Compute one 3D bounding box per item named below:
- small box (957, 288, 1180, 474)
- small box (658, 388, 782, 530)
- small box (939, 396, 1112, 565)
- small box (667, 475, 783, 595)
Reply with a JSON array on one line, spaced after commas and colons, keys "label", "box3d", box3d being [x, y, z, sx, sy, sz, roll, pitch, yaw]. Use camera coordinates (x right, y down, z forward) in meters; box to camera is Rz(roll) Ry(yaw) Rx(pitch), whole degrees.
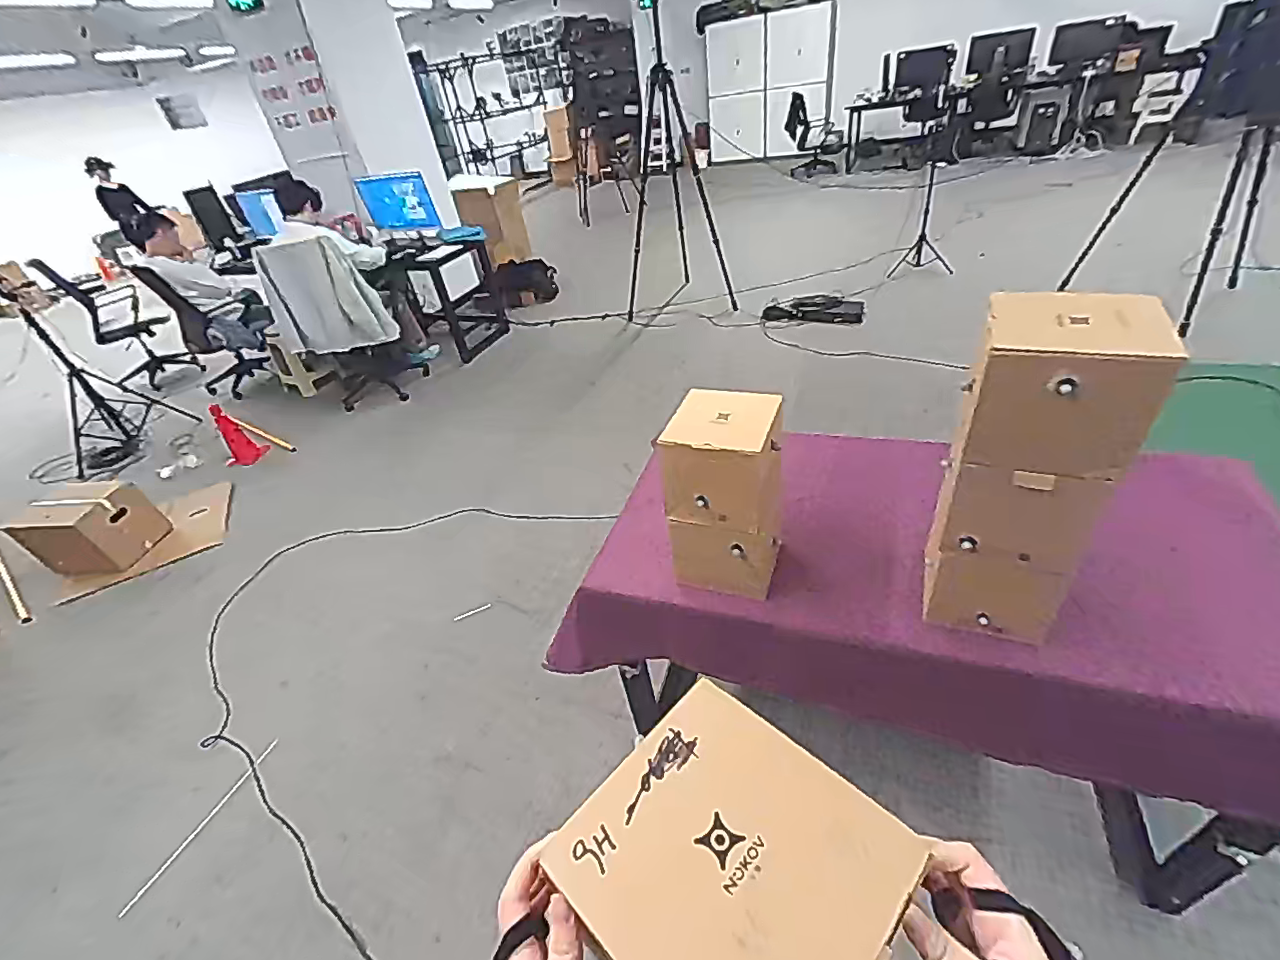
[{"label": "small box", "box3d": [0.511, -0.126, 0.676, 0.179, 0.176, 0.168, 11, 44, 26]}, {"label": "small box", "box3d": [0.144, -0.039, 0.934, 0.168, 0.176, 0.179, 8, 42, 23]}, {"label": "small box", "box3d": [0.539, -0.003, 0.779, 0.168, 0.176, 0.179, 9, 41, 25]}, {"label": "small box", "box3d": [0.168, 0.094, 1.025, 0.179, 0.176, 0.168, 7, 40, 23]}]
